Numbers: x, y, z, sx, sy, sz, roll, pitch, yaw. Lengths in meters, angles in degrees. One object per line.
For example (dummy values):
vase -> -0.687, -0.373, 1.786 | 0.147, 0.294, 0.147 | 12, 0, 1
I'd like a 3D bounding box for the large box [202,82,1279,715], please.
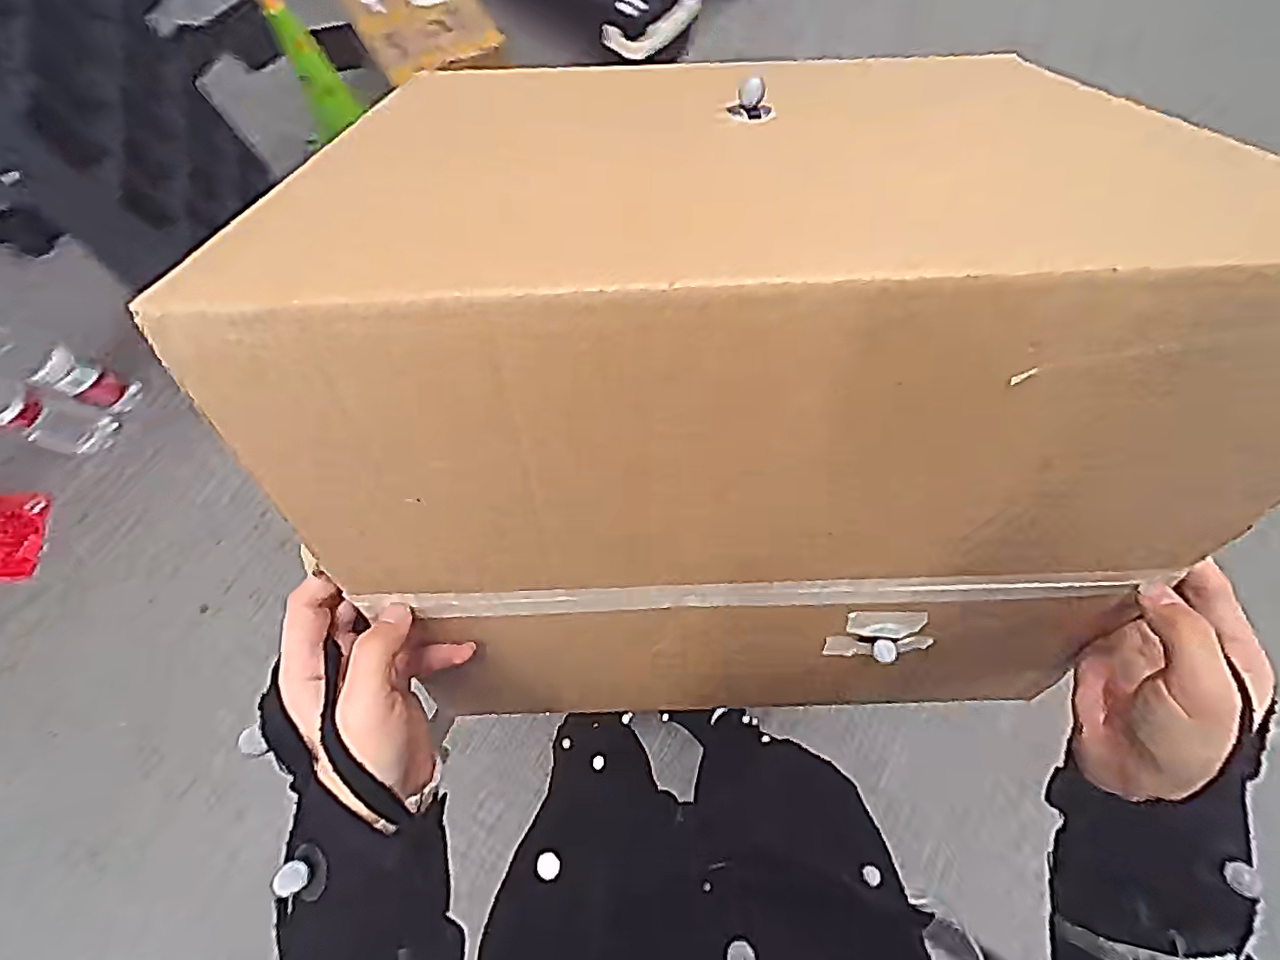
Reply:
large box -> 0.057, -0.053, 0.377 | 0.408, 0.320, 0.320 | -2, 48, 1
